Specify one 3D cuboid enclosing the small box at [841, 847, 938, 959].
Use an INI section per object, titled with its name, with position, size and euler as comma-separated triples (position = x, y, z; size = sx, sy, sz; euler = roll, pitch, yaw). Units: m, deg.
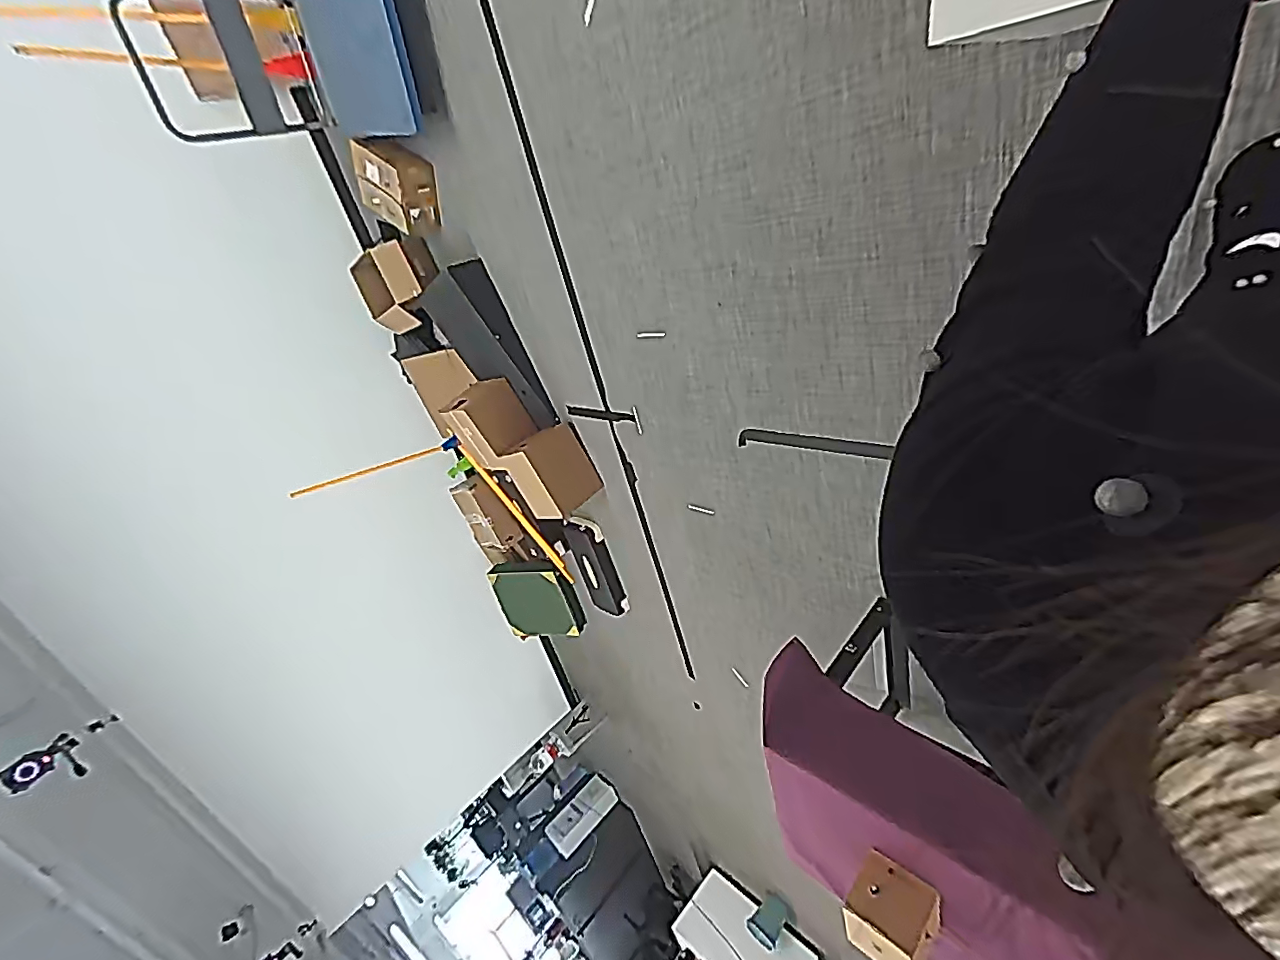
[small box]
position = 0.620, 1.068, 1.339
size = 0.168, 0.176, 0.179
euler = 14, 130, 46
